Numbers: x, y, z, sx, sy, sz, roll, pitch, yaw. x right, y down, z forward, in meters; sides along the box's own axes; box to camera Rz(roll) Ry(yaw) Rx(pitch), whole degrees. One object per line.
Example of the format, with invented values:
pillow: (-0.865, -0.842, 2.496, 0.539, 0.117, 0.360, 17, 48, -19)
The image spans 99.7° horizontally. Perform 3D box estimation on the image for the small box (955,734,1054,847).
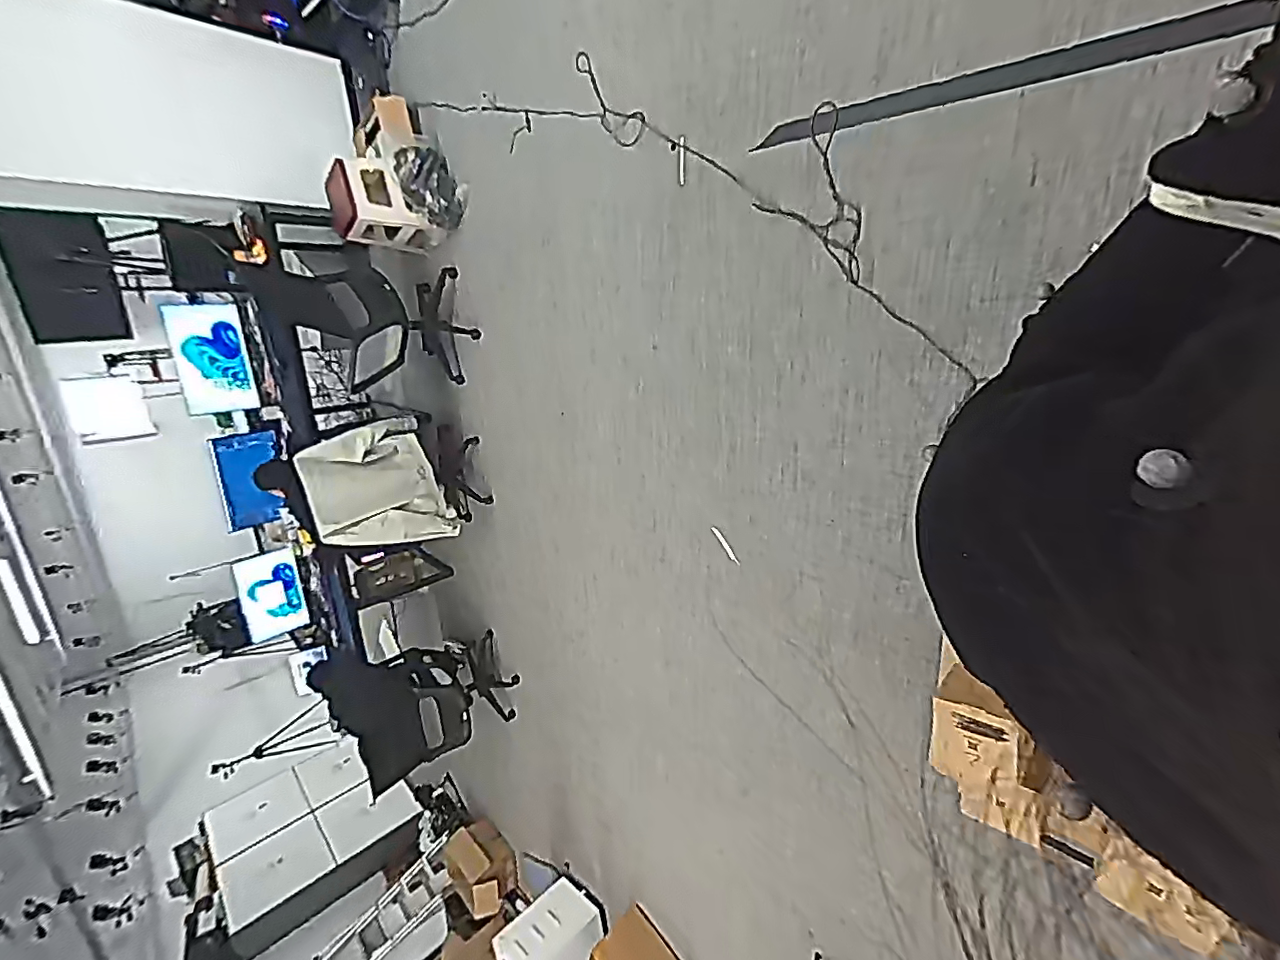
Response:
small box: (0.942, 0.782, 1.399, 0.179, 0.176, 0.168, 8, 110, 45)

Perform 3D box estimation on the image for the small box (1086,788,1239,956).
small box: (1.016, 0.747, 1.058, 0.179, 0.176, 0.168, 19, 117, 41)

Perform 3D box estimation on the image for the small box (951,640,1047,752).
small box: (0.900, 0.529, 1.353, 0.168, 0.176, 0.179, 8, 110, 45)
